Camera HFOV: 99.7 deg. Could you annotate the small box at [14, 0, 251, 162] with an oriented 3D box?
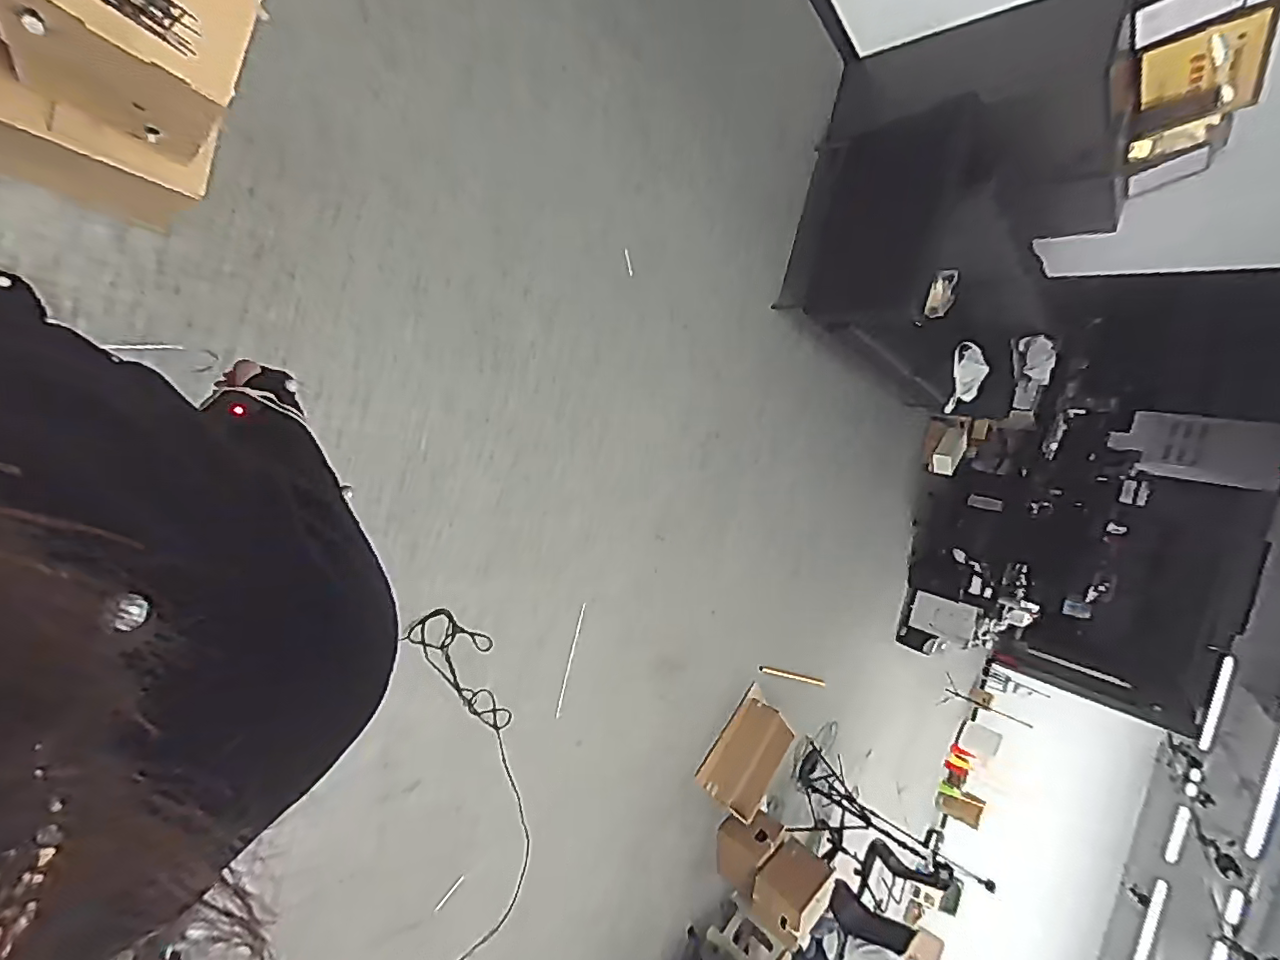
[{"bbox_3d":[-0.607,-0.526,0.658,0.168,0.176,0.179,17,89,-47],"label":"small box"}]
